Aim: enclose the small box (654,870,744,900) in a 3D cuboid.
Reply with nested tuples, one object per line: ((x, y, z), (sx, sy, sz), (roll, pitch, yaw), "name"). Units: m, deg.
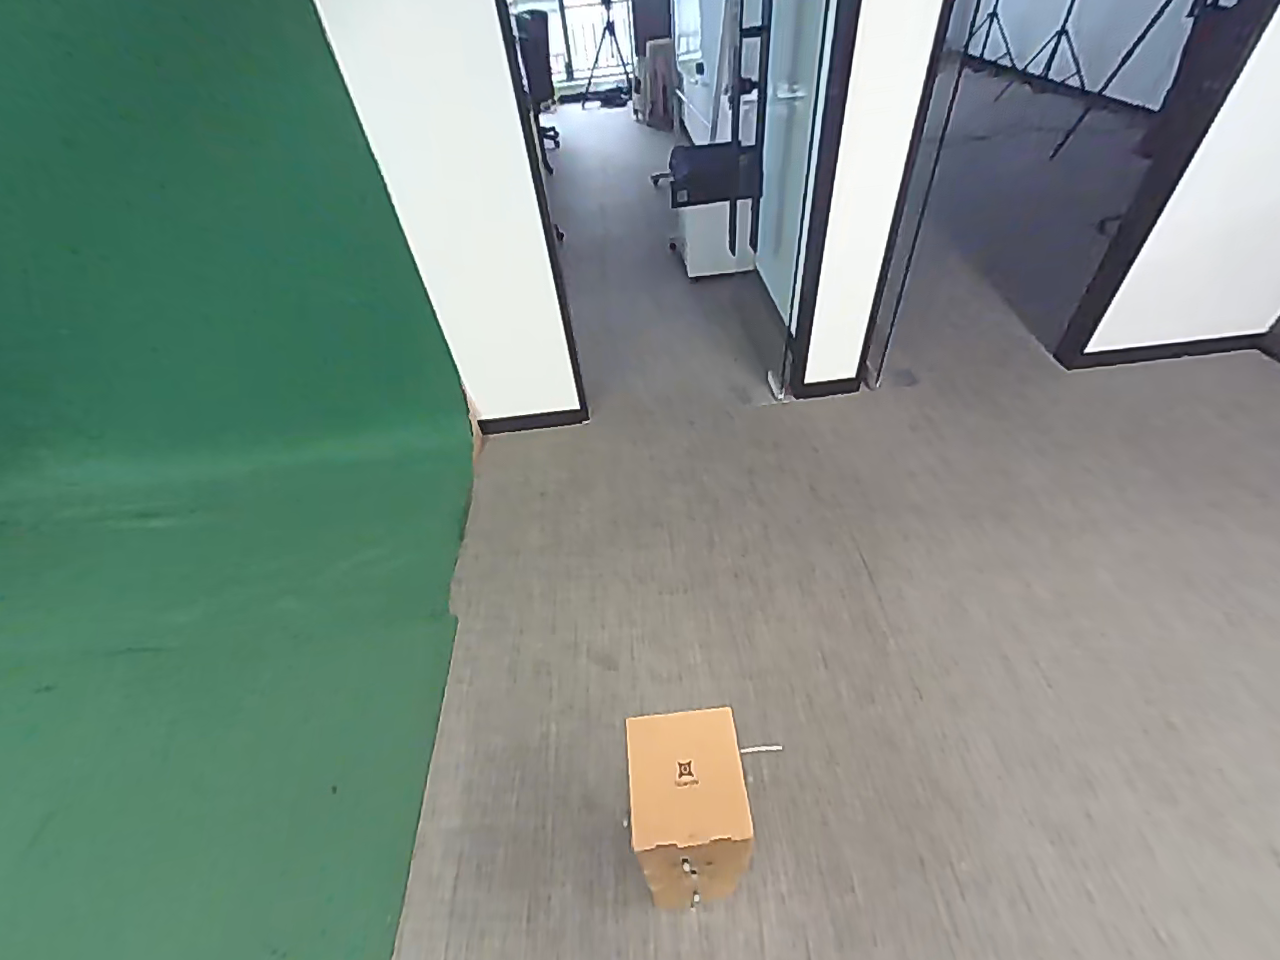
((0.103, 0.706, 1.077), (0.168, 0.176, 0.179), (-9, 46, -1), "small box")

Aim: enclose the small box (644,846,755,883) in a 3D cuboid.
((0.095, 0.594, 0.957), (0.179, 0.176, 0.168), (-8, 45, 1), "small box")

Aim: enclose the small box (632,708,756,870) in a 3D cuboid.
((0.078, 0.481, 0.841), (0.168, 0.176, 0.179), (-7, 46, 1), "small box")
